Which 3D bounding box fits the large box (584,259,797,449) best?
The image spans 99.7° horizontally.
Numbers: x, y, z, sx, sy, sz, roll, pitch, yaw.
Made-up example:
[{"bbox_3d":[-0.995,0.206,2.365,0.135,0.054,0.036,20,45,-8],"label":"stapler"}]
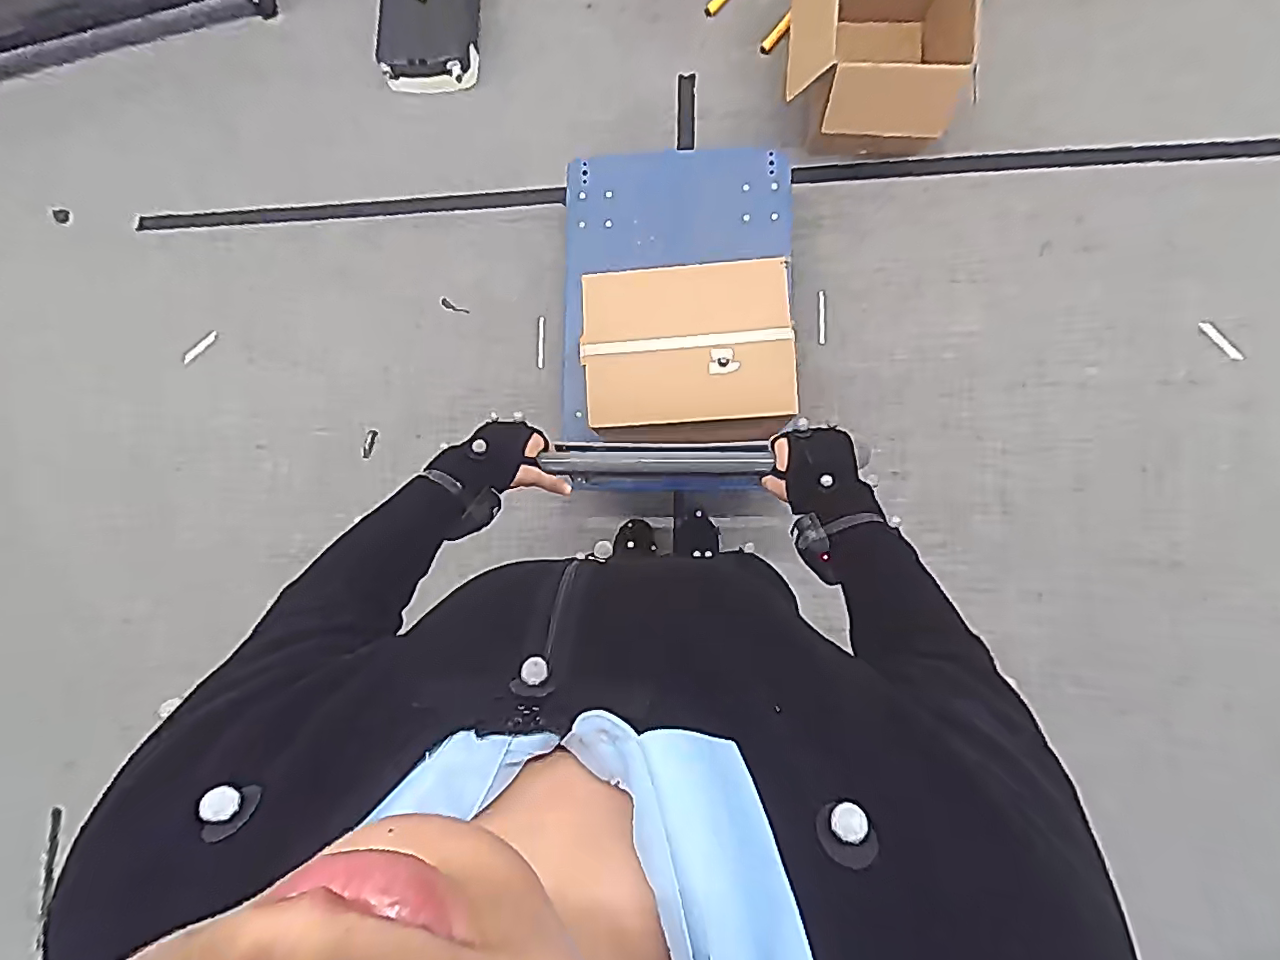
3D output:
[{"bbox_3d":[0.104,-0.257,1.210,0.408,0.320,0.320,-4,85,3],"label":"large box"}]
